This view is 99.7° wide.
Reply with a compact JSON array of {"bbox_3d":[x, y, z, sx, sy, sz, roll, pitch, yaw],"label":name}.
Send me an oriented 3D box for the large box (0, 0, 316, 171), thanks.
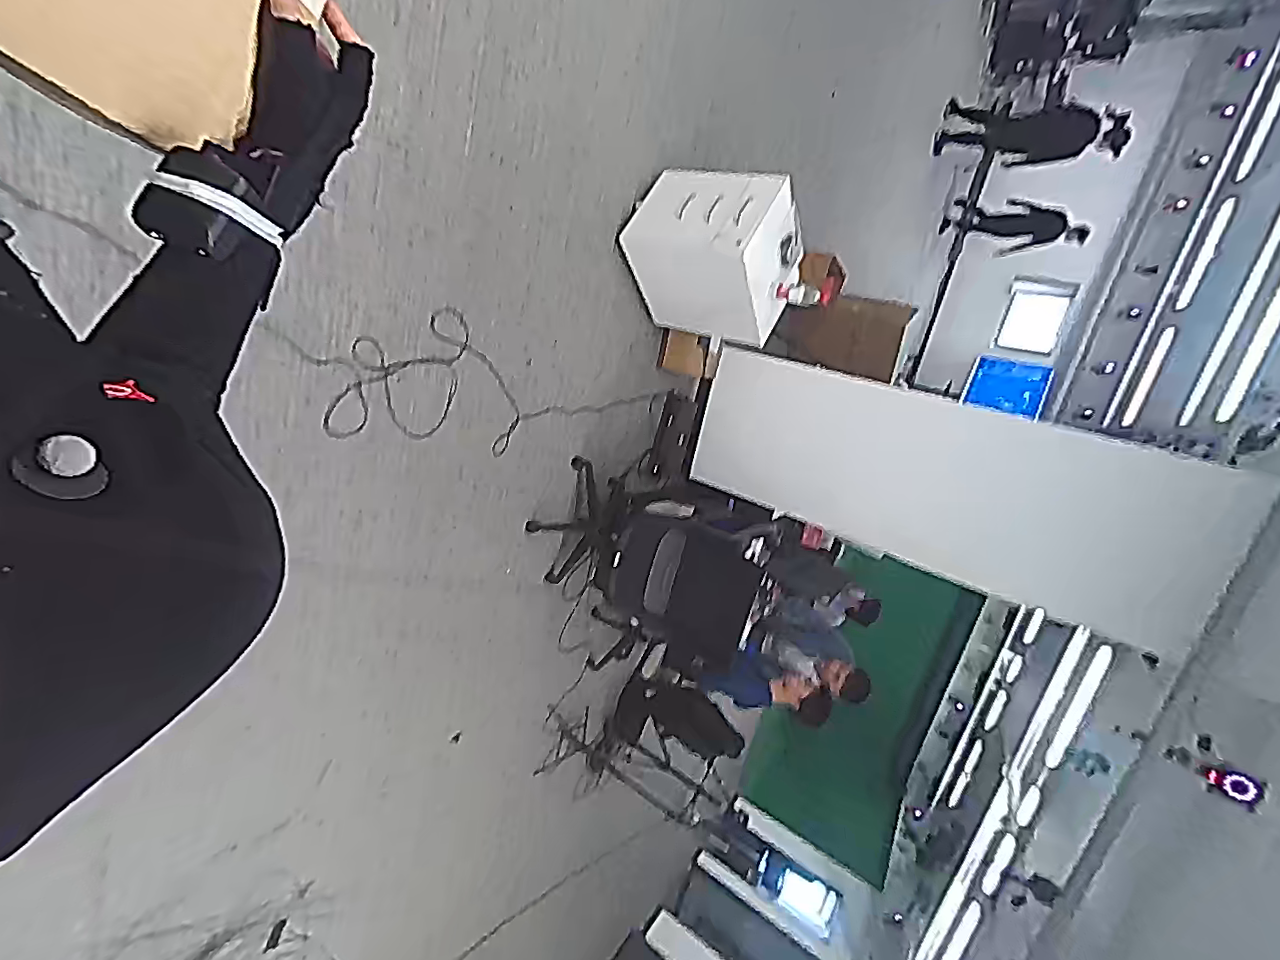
[{"bbox_3d":[-0.451,-0.476,0.310,0.320,0.320,0.408,-59,154,3],"label":"large box"}]
